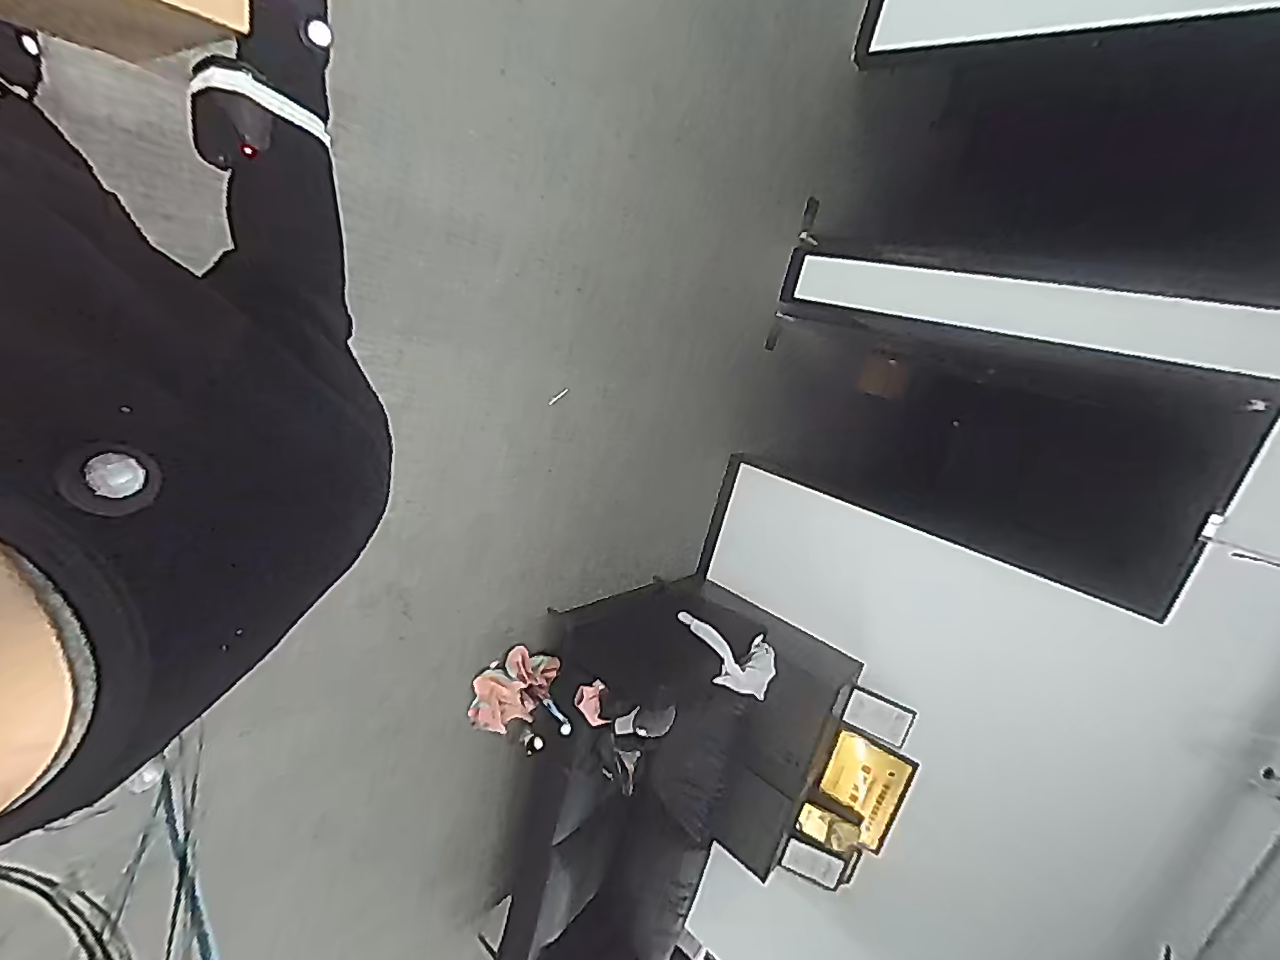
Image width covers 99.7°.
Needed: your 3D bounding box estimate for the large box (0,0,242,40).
[{"bbox_3d":[-0.509,-0.501,0.284,0.408,0.320,0.320,-16,123,-49],"label":"large box"}]
